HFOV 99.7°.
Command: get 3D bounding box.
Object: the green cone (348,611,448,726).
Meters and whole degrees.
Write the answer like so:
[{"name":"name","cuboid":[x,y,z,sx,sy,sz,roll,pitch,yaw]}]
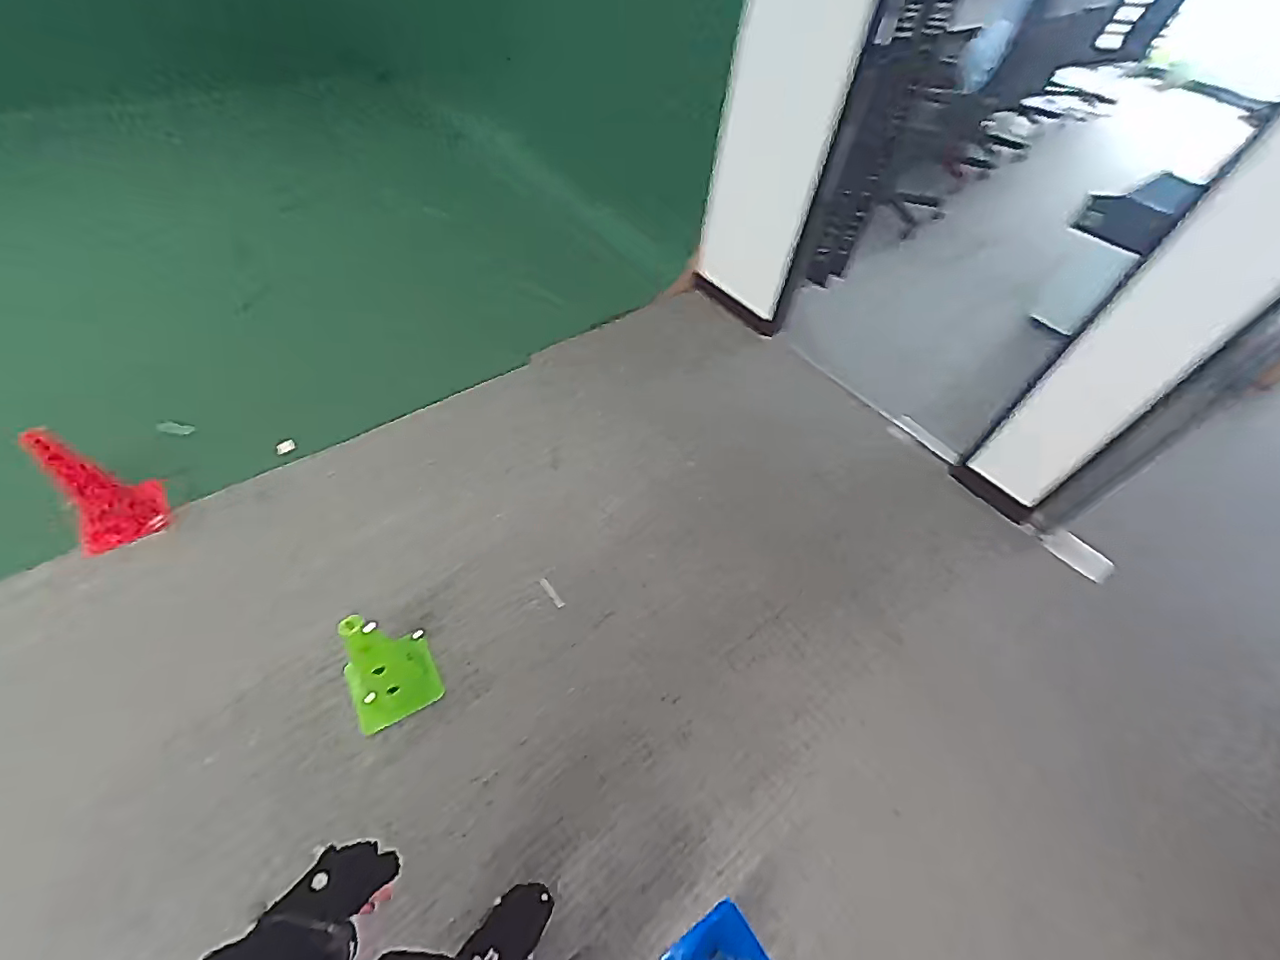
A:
[{"name":"green cone","cuboid":[-0.604,0.394,1.255,0.200,0.368,0.202,-24,59,-23]}]
